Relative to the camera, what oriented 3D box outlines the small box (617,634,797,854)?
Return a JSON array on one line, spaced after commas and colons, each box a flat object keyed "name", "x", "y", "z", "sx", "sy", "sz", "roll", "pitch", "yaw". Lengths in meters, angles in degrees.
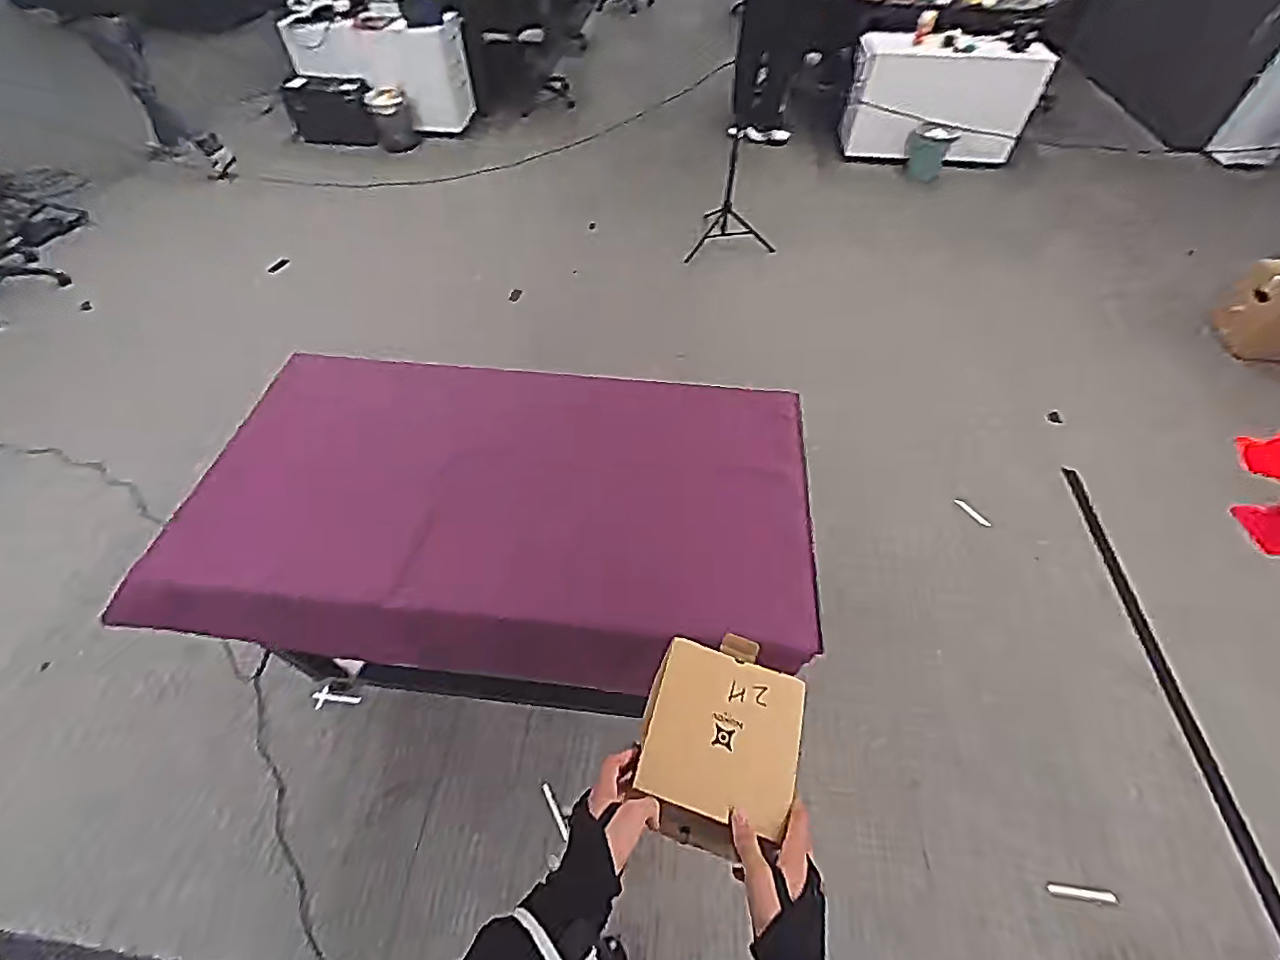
[{"name": "small box", "x": 0.076, "y": 0.325, "z": 0.658, "sx": 0.168, "sy": 0.176, "sz": 0.179, "roll": 18, "pitch": 49, "yaw": 4}]
